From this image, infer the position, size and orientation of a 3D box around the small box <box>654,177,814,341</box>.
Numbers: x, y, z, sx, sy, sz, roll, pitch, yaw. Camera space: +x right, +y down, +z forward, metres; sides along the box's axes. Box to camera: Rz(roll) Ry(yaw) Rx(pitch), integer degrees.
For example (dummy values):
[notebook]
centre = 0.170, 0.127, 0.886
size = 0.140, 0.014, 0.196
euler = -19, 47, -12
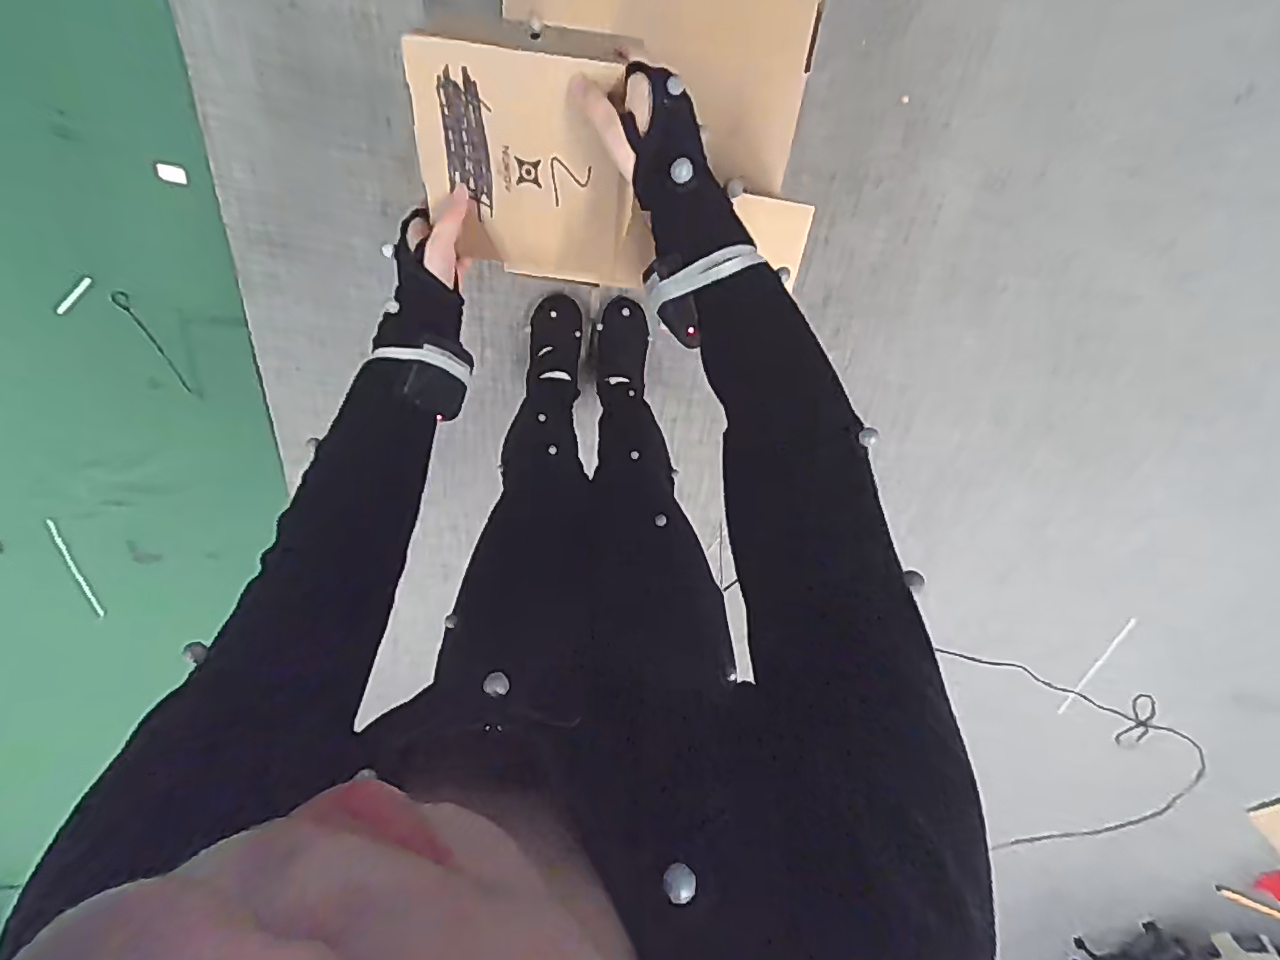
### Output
[small box]
centre = 0.115, -0.313, 0.755
size = 0.168, 0.176, 0.179
euler = 6, 121, -6
